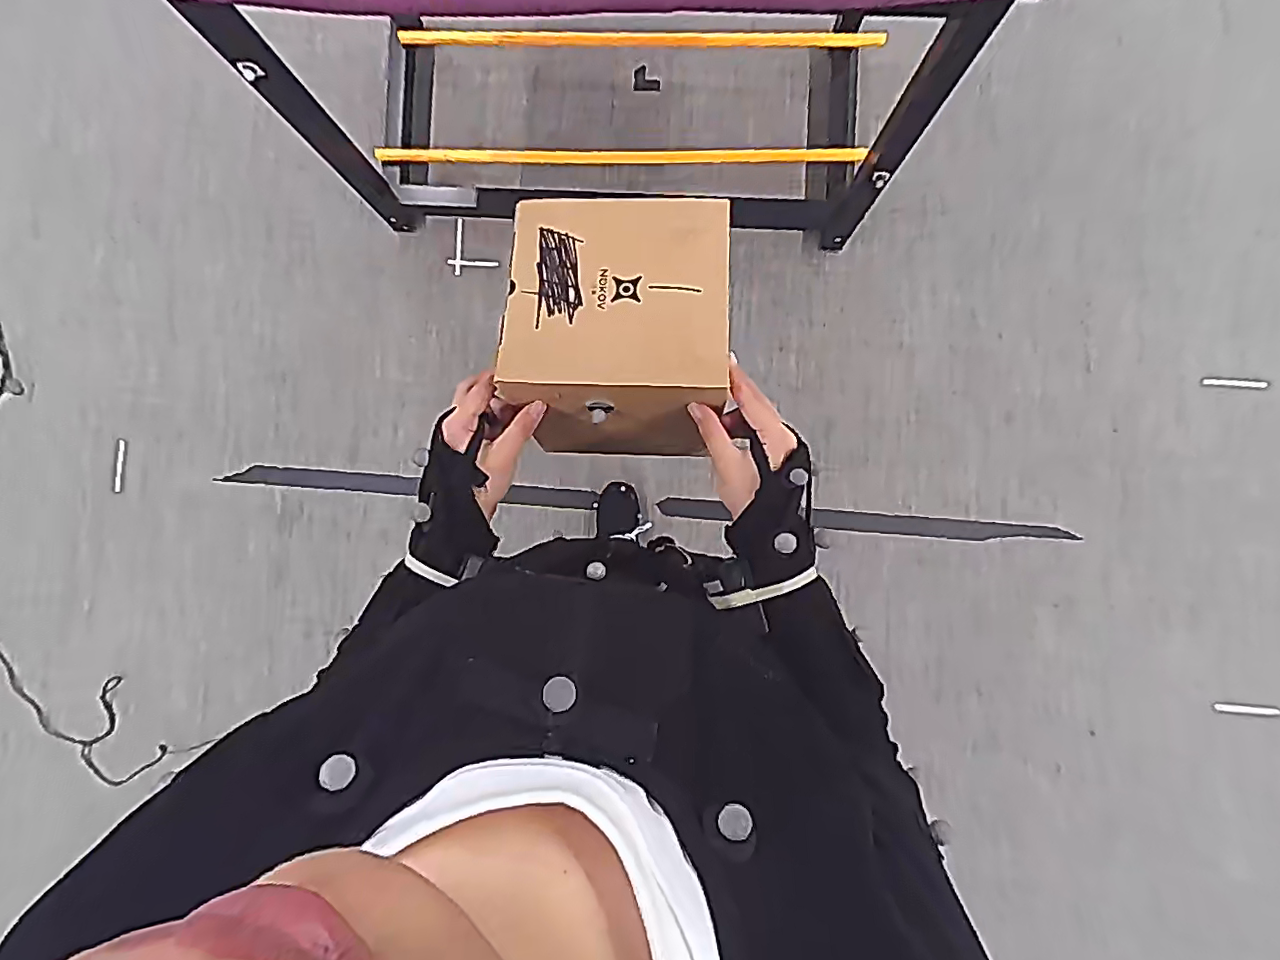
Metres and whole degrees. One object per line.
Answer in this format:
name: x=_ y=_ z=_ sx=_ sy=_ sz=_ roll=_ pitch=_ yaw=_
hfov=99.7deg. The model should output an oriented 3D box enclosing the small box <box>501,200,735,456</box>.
small box: x=-0.009 y=-0.125 z=0.495 sx=0.179 sy=0.176 sz=0.168 roll=2 pitch=75 yaw=4
